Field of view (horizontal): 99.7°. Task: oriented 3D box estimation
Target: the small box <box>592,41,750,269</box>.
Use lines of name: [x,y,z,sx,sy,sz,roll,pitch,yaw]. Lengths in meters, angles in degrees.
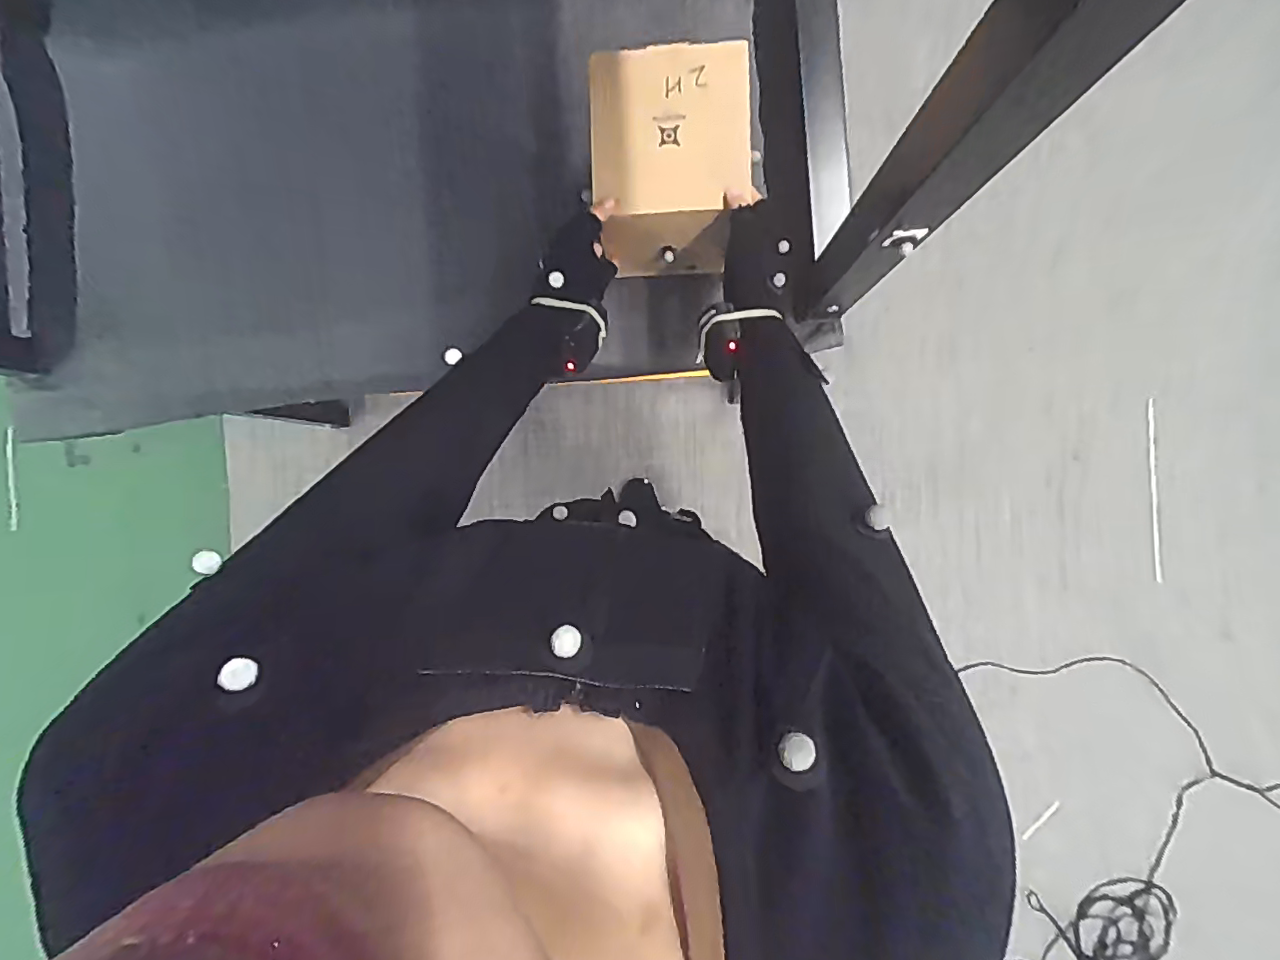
small box: [0.038,-0.362,0.638,0.168,0.176,0.179,-1,89,4]
